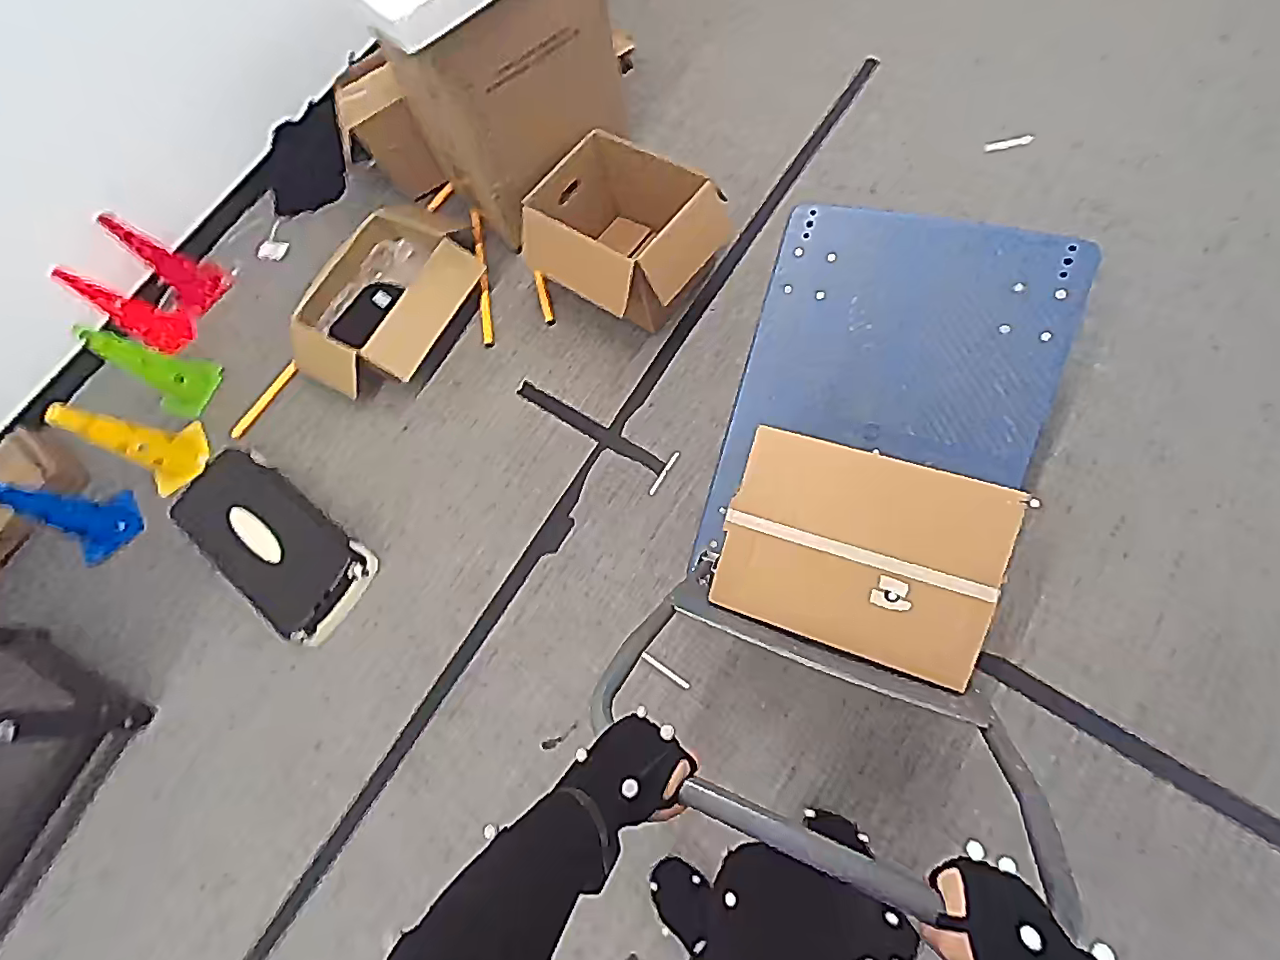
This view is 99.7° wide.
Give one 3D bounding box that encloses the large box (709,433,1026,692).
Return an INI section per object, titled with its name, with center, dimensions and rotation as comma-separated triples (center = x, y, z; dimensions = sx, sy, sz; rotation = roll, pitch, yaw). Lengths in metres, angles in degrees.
[large box]
center = 0.374, 0.116, 0.980
dimensions = 0.408, 0.320, 0.320
rotation = 16, 96, 16
